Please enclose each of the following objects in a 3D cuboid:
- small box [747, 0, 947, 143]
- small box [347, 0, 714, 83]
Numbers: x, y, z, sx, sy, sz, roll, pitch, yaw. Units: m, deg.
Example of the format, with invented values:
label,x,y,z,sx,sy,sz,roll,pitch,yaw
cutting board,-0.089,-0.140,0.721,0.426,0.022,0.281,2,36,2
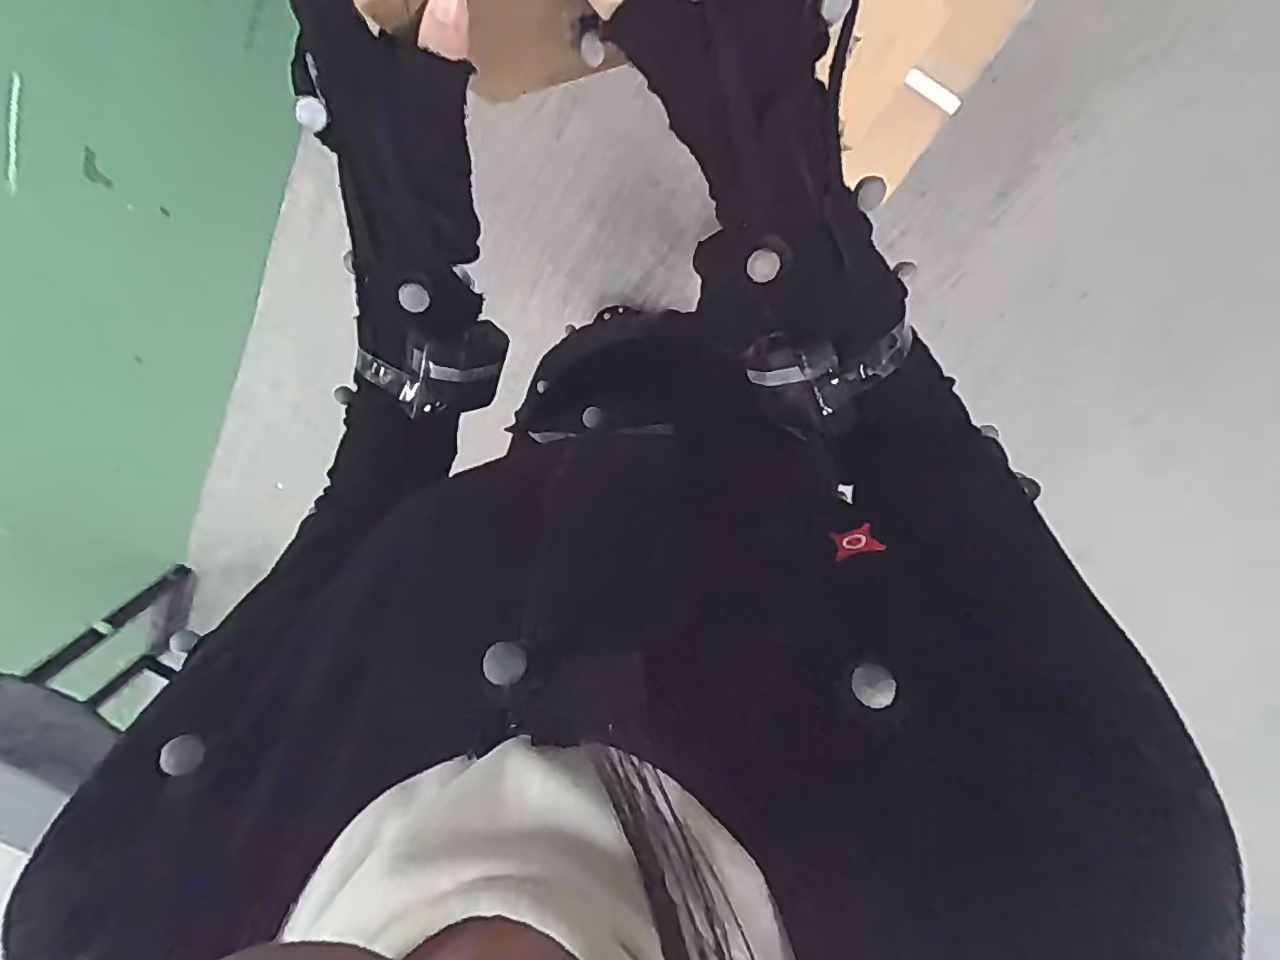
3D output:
label,x,y,z,sx,sy,sz,roll,pitch,yaw
small box,0.261,-0.583,0.731,0.179,0.176,0.168,31,122,-9
small box,-0.055,-0.317,0.251,0.168,0.176,0.179,-11,113,10
